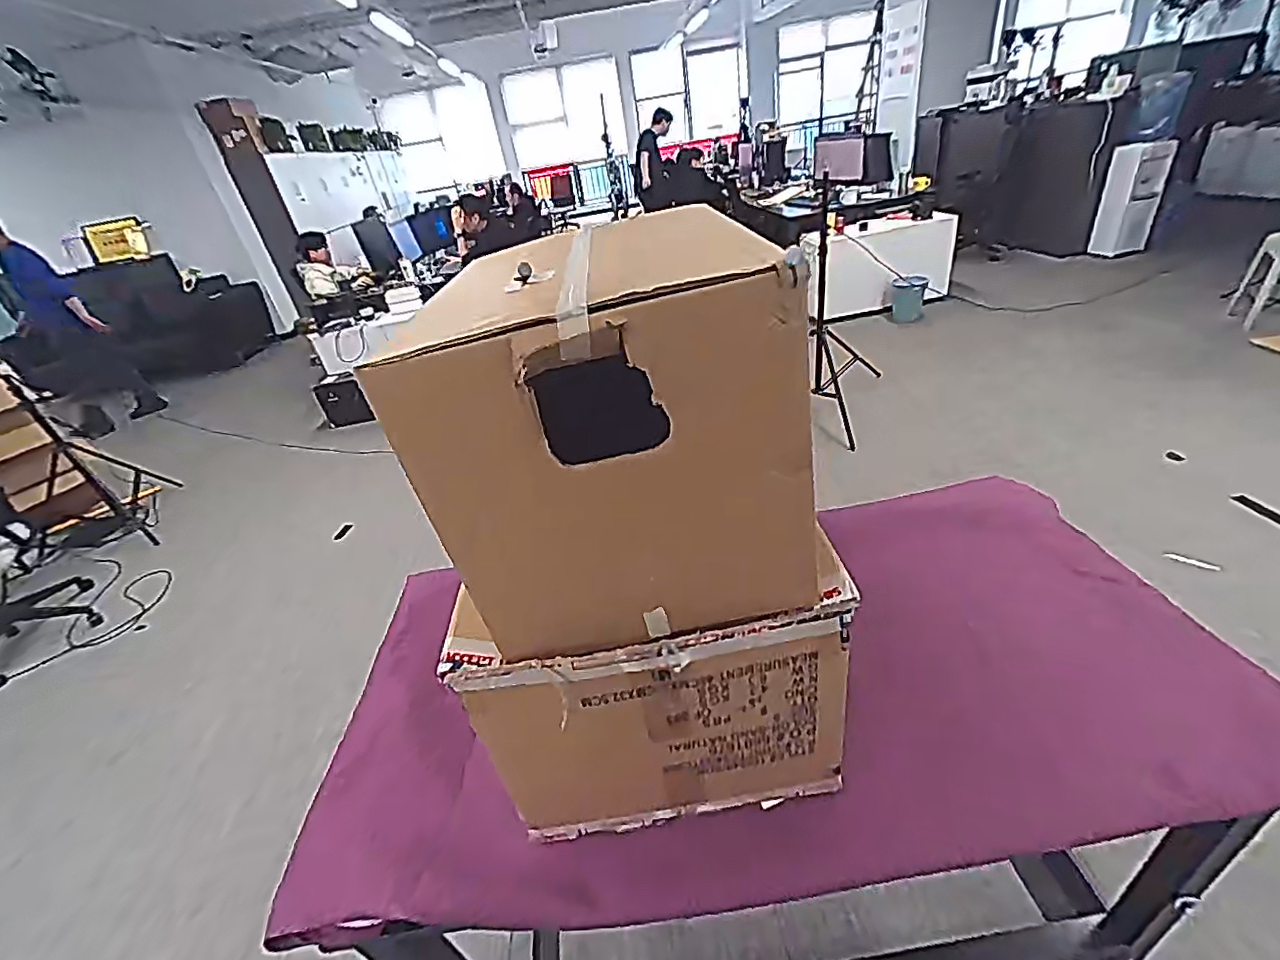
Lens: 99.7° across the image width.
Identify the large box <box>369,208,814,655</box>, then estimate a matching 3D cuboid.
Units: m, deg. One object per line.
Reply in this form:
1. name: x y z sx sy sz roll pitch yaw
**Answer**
1. large box: -0.026 -0.085 0.607 0.320 0.320 0.408 -14 32 3
